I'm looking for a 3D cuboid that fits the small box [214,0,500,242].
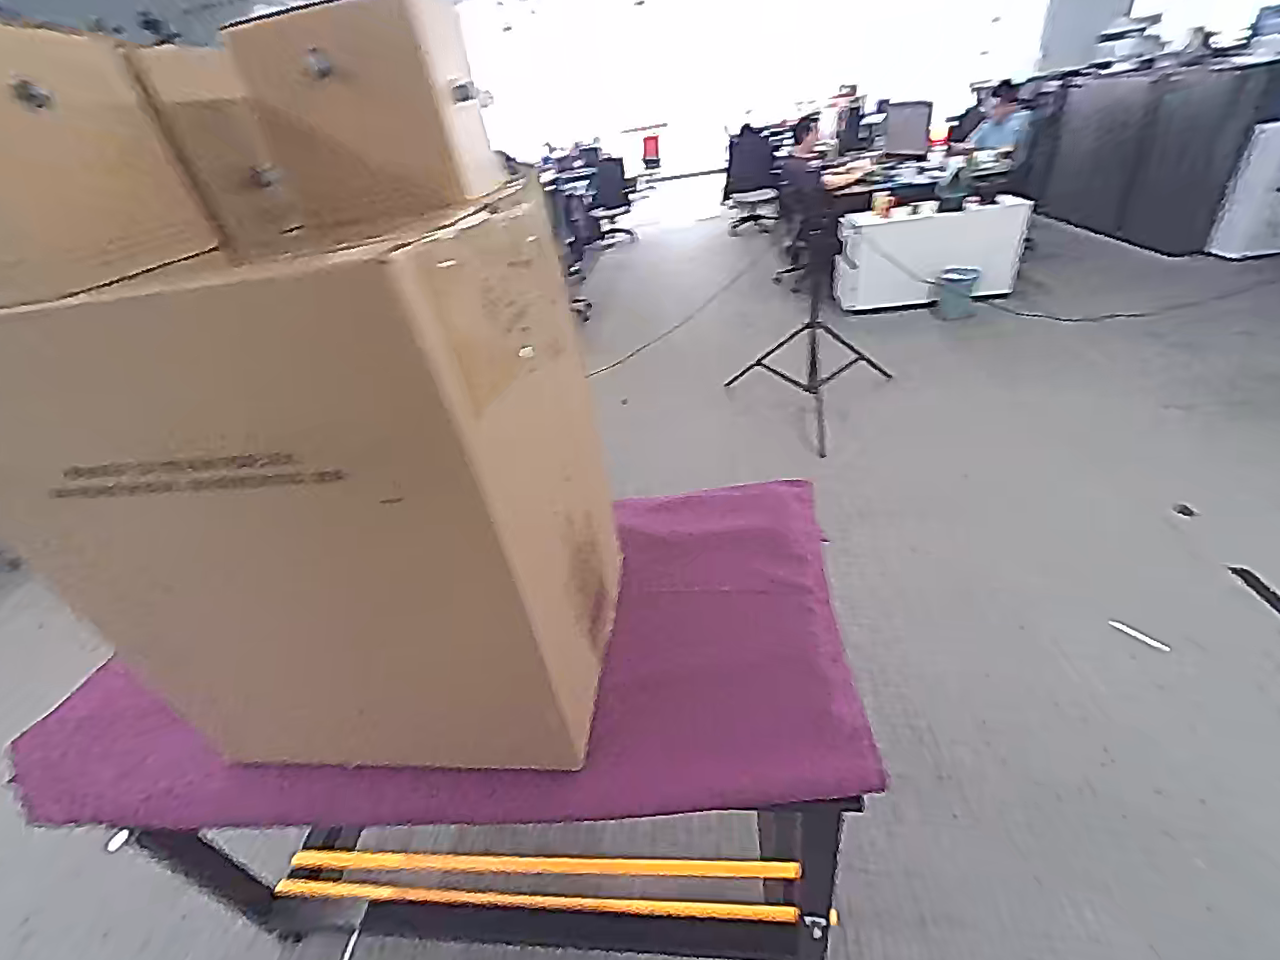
[{"bbox_3d":[-0.263,-0.363,0.559,0.179,0.176,0.168,-8,34,6],"label":"small box"}]
